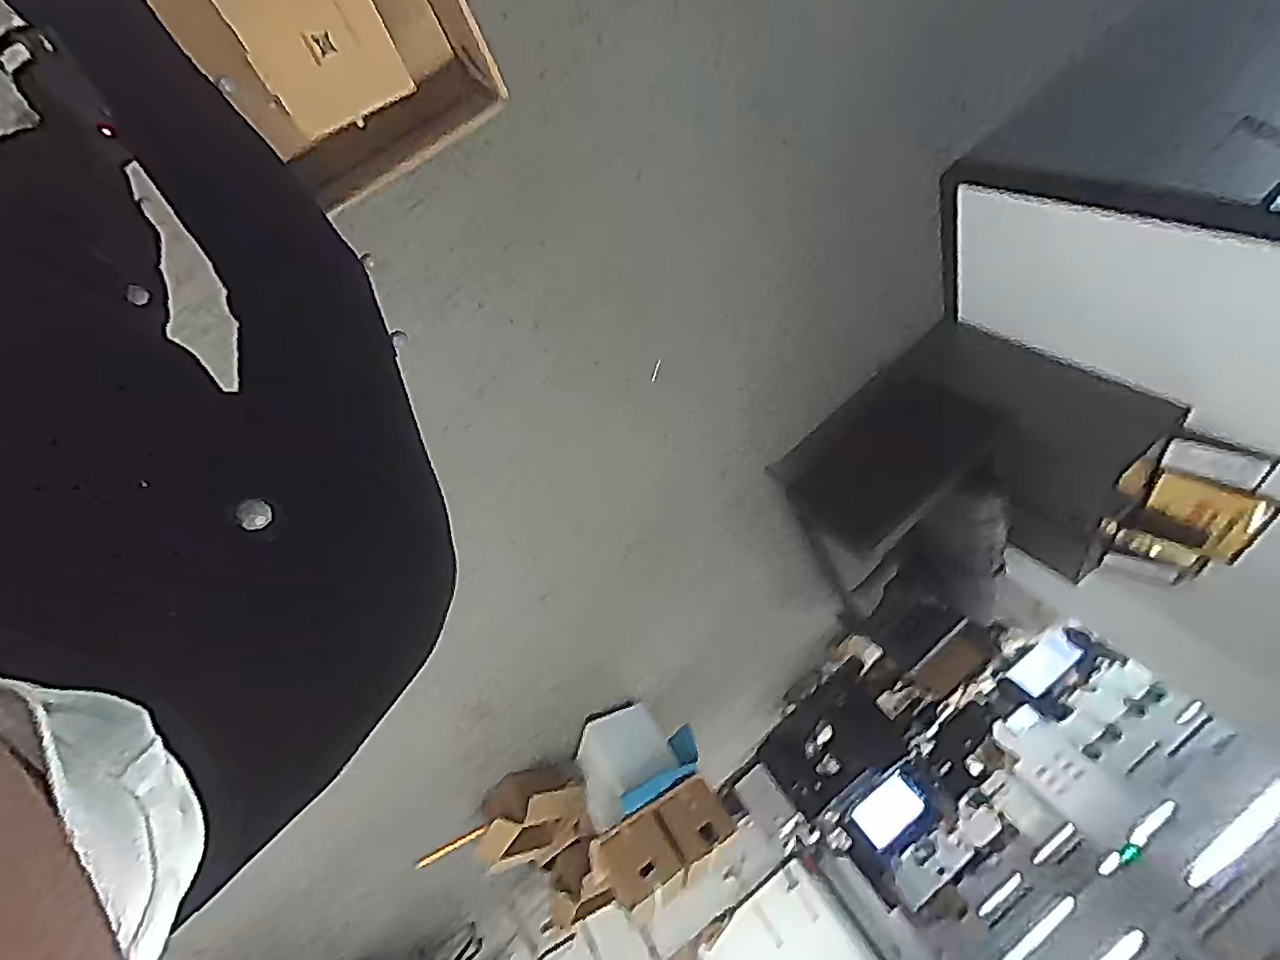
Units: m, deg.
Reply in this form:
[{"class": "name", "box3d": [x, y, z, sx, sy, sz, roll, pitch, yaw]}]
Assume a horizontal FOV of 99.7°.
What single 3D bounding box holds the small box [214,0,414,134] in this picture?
[{"class": "small box", "box3d": [-0.453, -0.618, 0.759, 0.179, 0.176, 0.168, -32, 138, -9]}]
